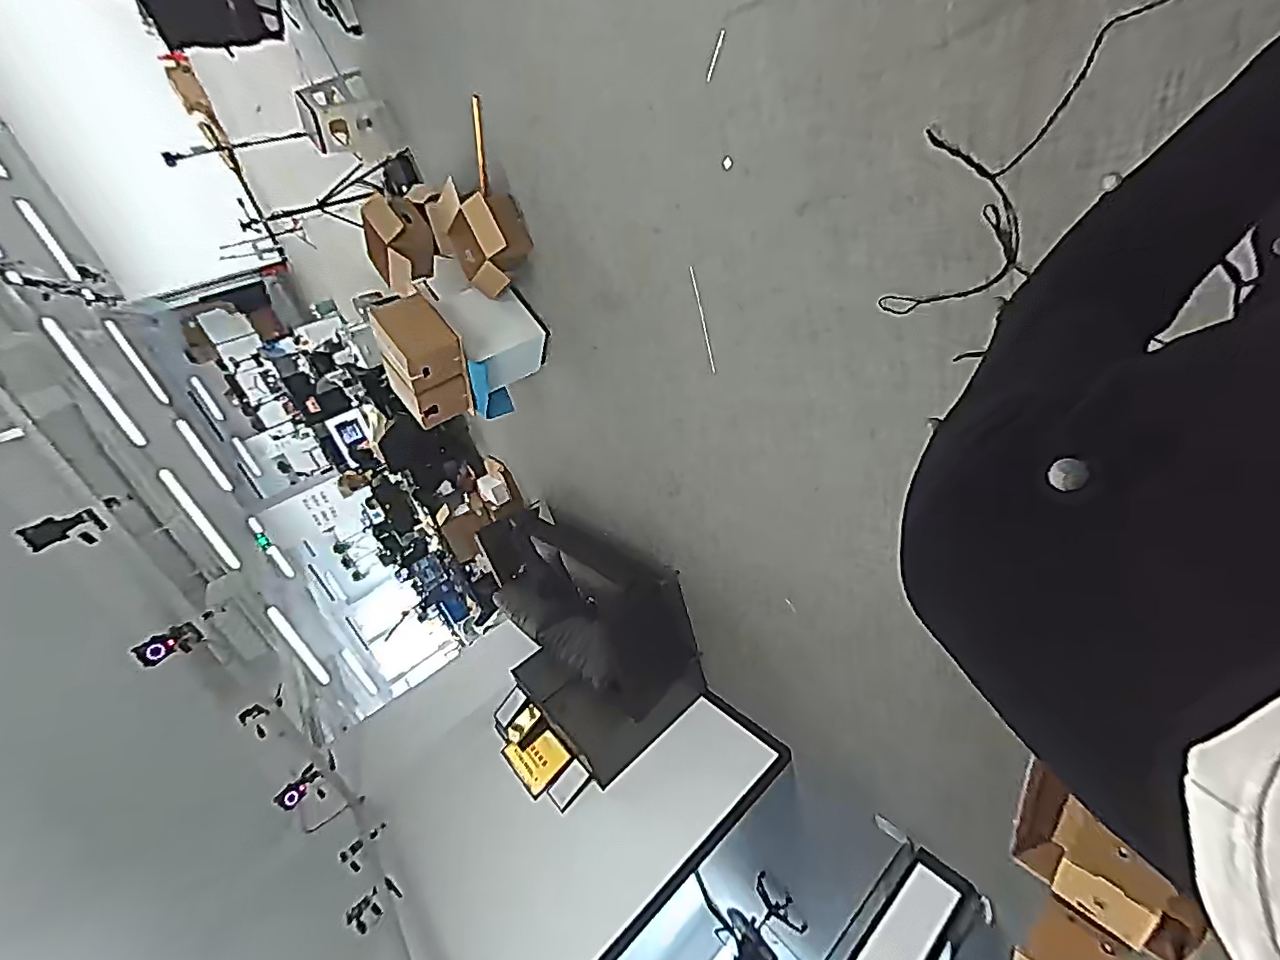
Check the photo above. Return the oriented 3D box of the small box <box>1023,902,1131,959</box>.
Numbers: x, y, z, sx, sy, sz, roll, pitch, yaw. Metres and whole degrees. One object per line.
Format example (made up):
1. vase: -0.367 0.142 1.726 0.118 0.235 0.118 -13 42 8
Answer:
1. small box: 1.013 1.146 1.256 0.168 0.176 0.179 21 133 51

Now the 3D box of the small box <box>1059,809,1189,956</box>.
1. small box: 1.087 0.894 1.217 0.168 0.176 0.179 25 139 48

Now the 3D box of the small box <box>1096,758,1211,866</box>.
1. small box: 1.210 0.816 1.290 0.168 0.176 0.179 24 139 47
